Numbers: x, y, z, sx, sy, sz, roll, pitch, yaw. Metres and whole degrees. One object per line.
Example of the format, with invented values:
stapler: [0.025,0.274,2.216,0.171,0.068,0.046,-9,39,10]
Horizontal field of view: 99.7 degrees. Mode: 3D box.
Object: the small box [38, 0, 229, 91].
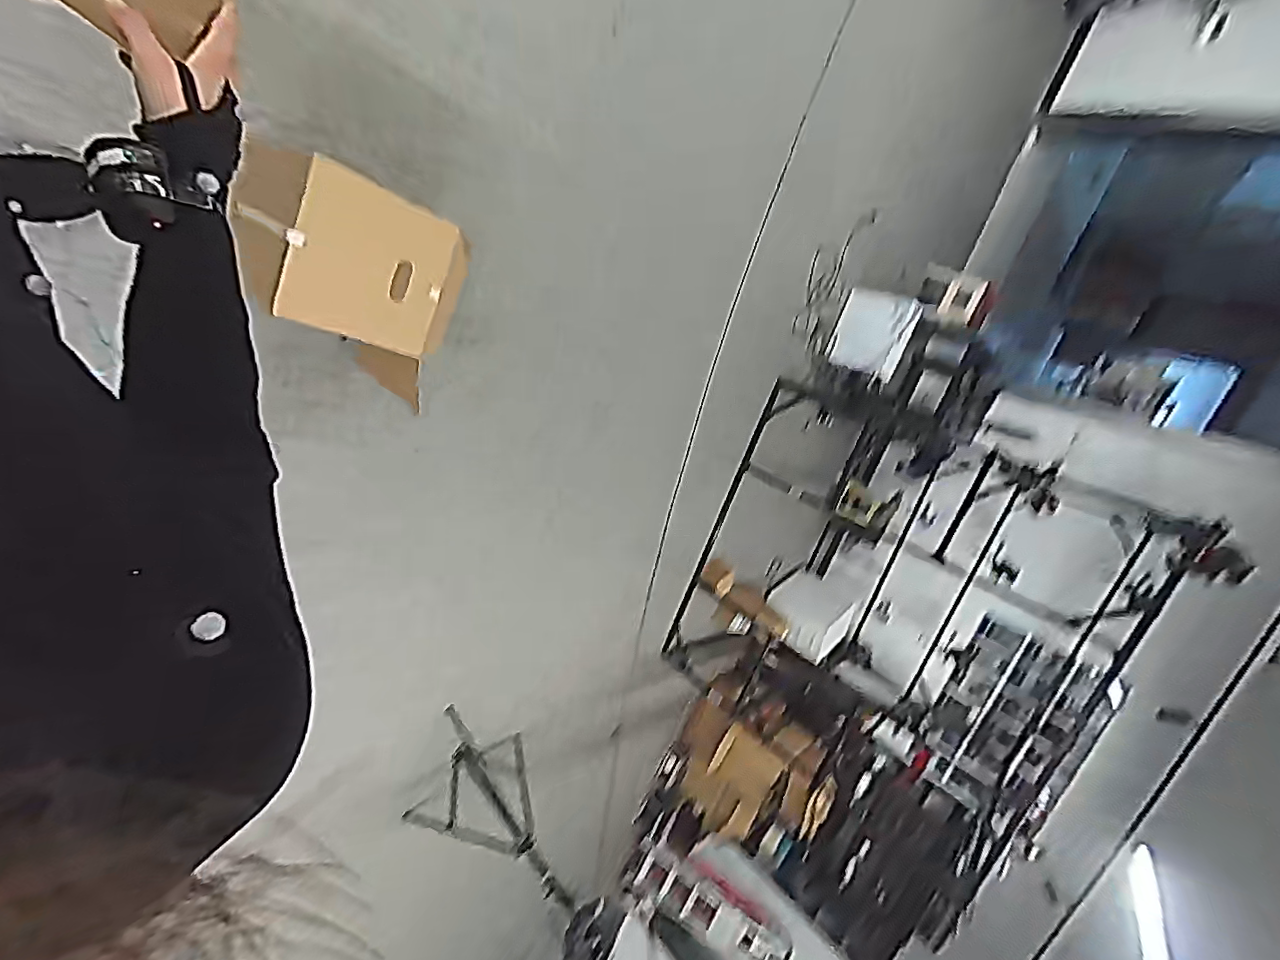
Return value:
small box: [-0.445,-0.467,0.430,0.168,0.176,0.179,-51,146,8]
